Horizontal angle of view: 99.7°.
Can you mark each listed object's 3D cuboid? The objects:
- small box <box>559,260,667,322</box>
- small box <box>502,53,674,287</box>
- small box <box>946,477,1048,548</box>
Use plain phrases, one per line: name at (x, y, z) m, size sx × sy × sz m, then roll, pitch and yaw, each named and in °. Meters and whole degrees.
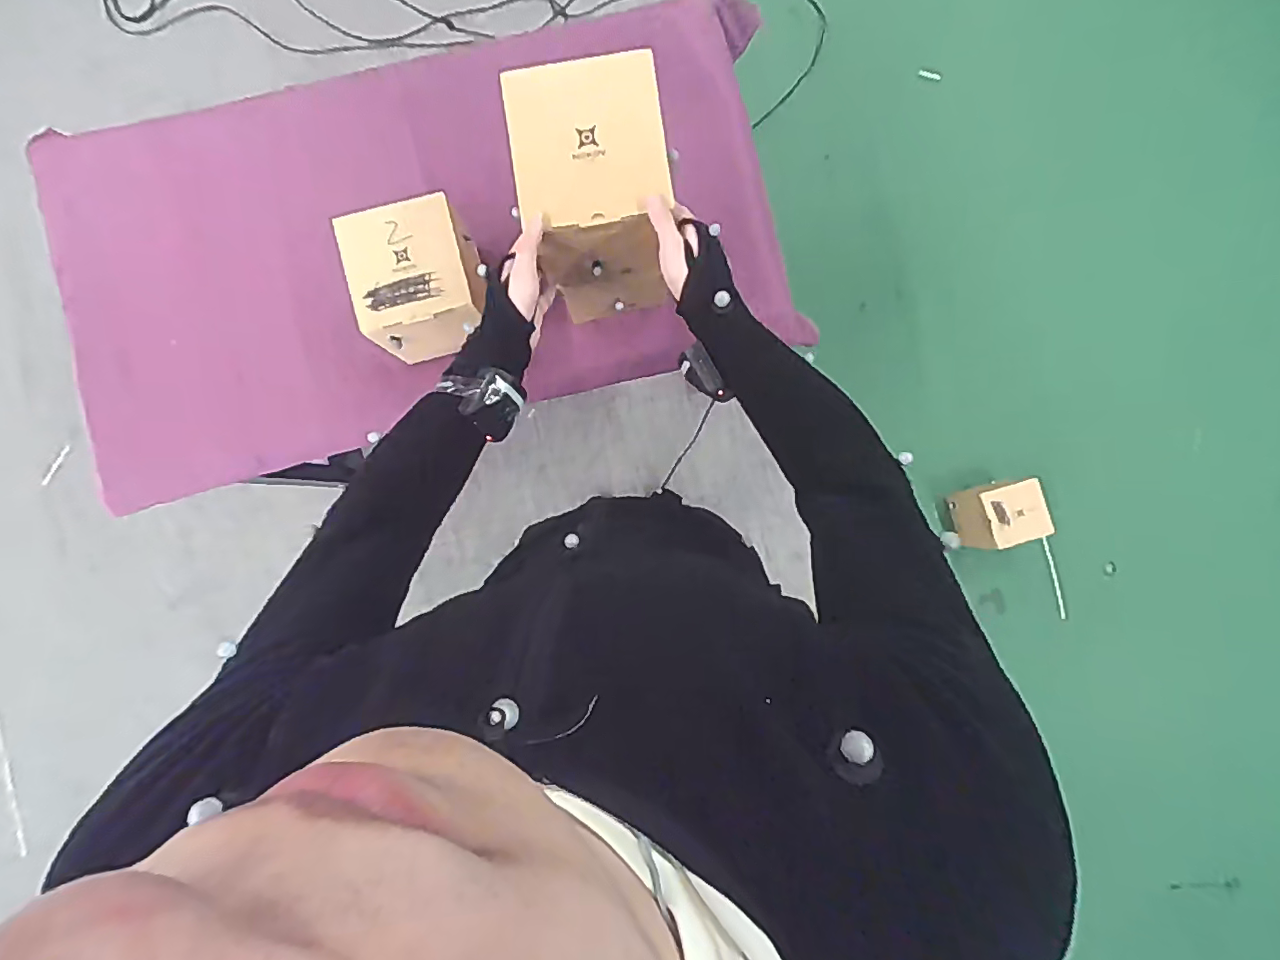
small box at (-0.061, -0.378, 0.858) m, size 0.168 × 0.176 × 0.179 m, roll -15°, pitch 87°, yaw -1°
small box at (-0.056, -0.356, 0.651) m, size 0.168 × 0.176 × 0.179 m, roll -9°, pitch 92°, yaw 1°
small box at (1.042, 0.096, 1.598) m, size 0.179 × 0.176 × 0.168 m, roll -16°, pitch 88°, yaw -3°
